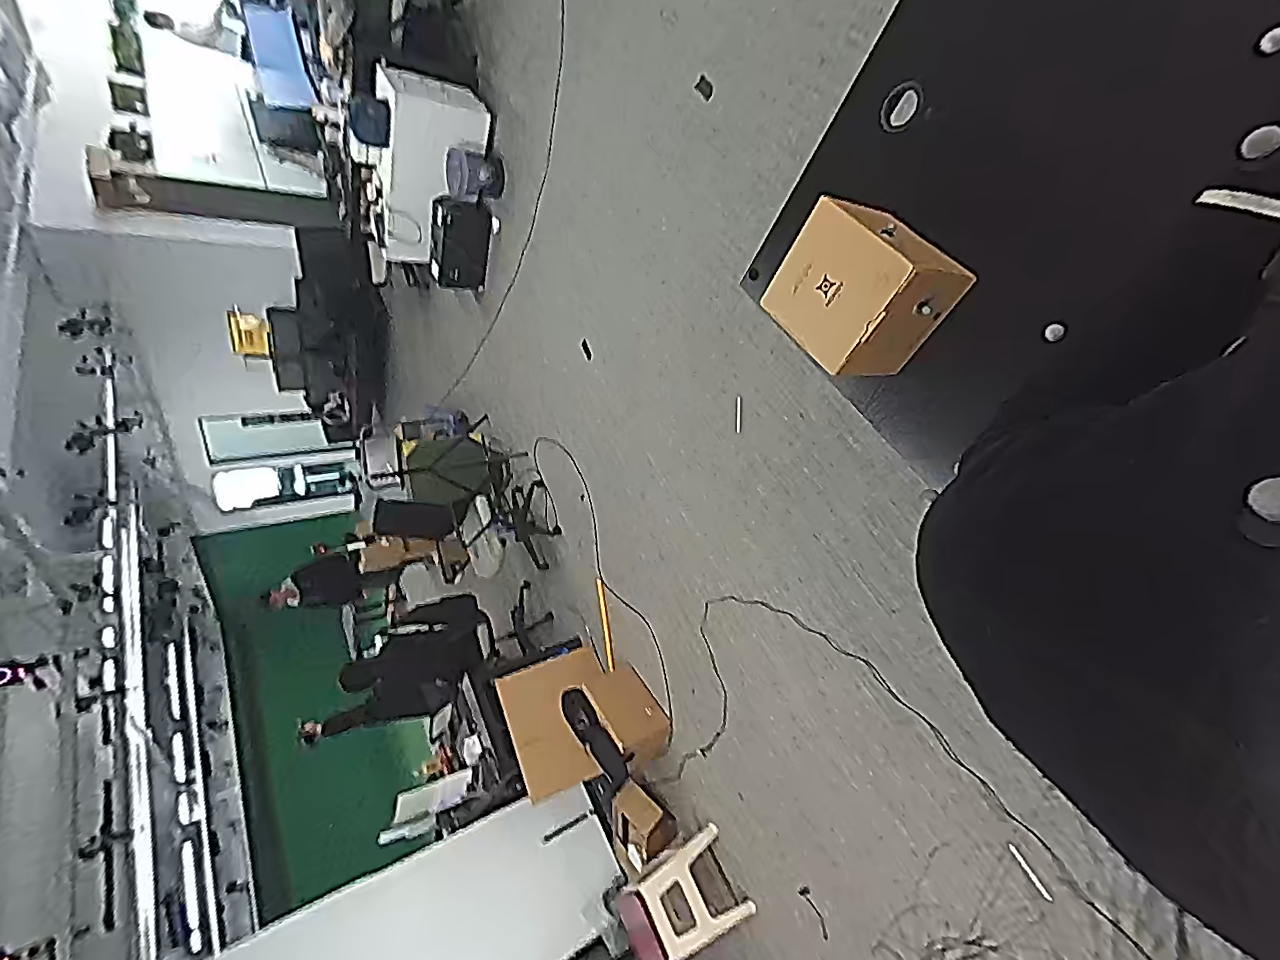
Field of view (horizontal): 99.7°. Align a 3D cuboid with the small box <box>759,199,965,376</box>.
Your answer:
[{"bbox_3d":[0.314,-0.269,0.772,0.179,0.176,0.168,57,137,29],"label":"small box"}]
